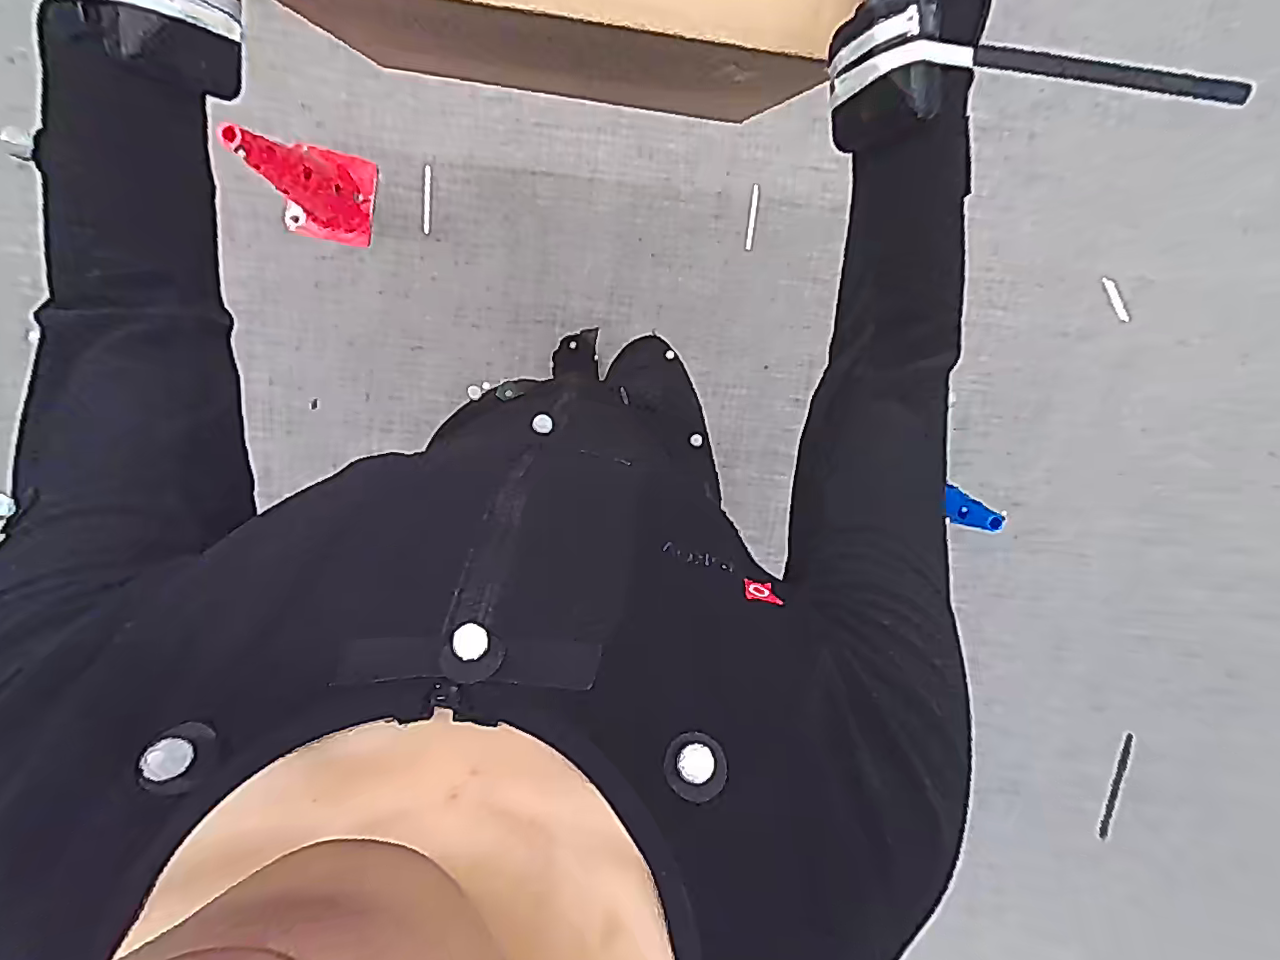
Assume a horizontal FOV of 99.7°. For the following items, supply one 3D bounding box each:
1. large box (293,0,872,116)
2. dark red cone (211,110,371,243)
[{"bbox_3d":[-0.050,-0.497,0.400,0.408,0.320,0.320,3,118,-8],"label":"large box"},{"bbox_3d":[-0.725,-0.643,1.106,0.201,0.394,0.202,10,101,-6],"label":"dark red cone"}]
